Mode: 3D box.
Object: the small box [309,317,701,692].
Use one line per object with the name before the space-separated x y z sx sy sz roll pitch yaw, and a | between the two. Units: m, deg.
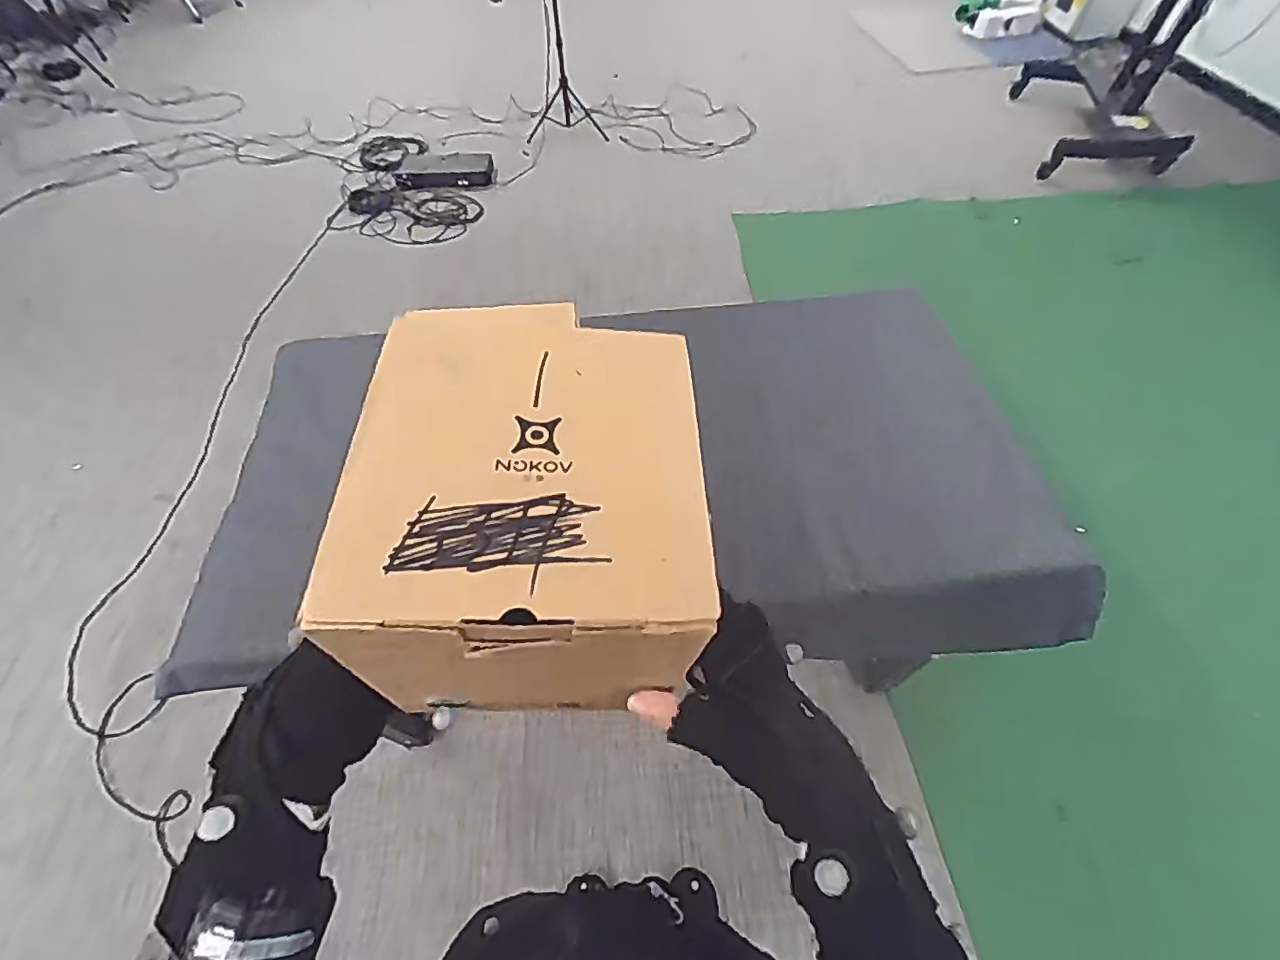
small box | -0.064 0.027 0.336 0.168 0.176 0.179 2 56 -7
